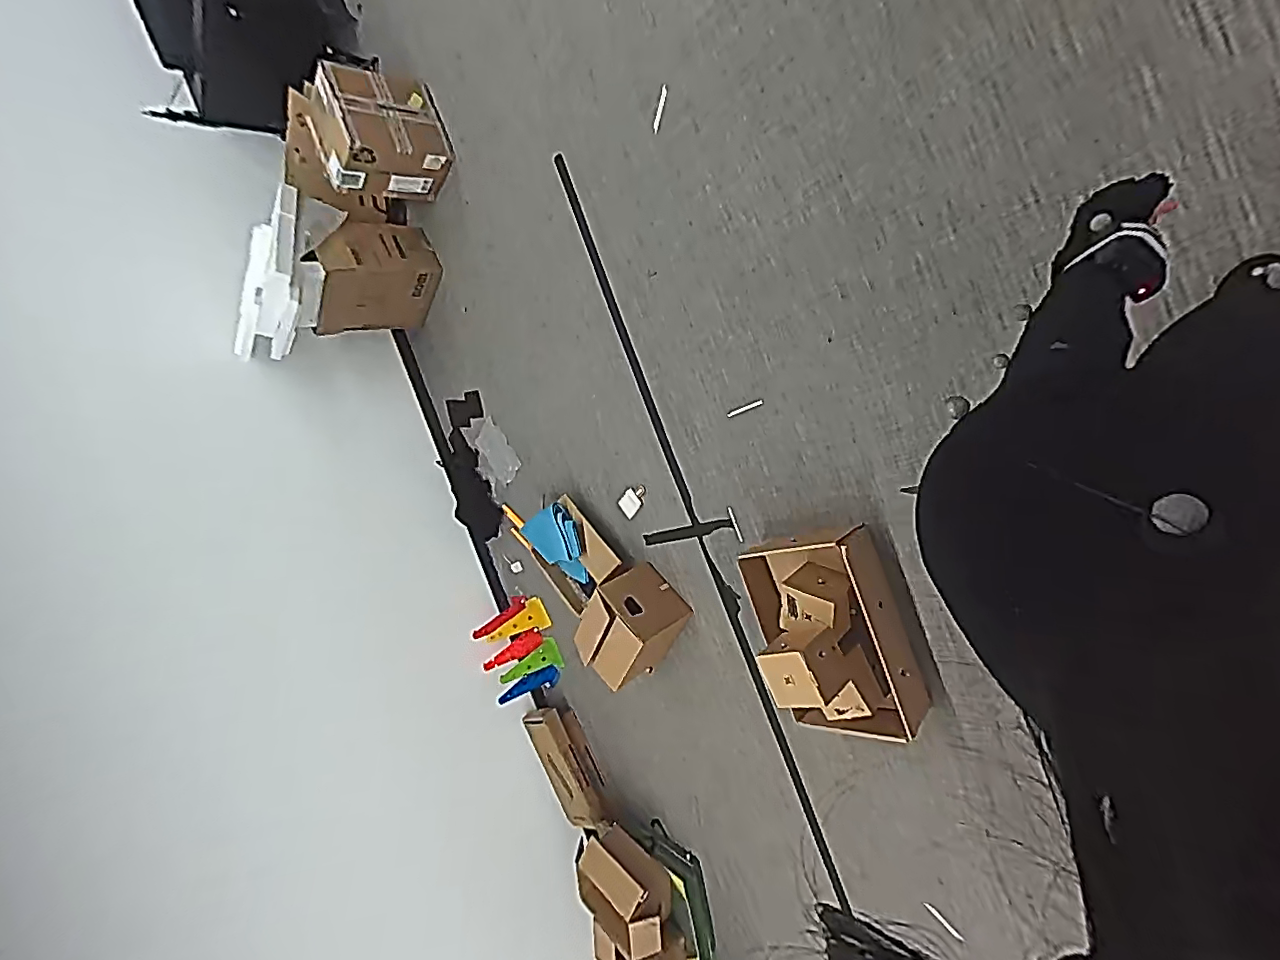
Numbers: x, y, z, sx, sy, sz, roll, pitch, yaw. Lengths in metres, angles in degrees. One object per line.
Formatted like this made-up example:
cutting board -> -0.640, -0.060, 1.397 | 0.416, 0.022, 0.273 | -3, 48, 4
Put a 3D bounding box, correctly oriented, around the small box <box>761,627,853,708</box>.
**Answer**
small box -> 0.497, 0.547, 1.582 | 0.179, 0.176, 0.168 | -31, 81, 50
